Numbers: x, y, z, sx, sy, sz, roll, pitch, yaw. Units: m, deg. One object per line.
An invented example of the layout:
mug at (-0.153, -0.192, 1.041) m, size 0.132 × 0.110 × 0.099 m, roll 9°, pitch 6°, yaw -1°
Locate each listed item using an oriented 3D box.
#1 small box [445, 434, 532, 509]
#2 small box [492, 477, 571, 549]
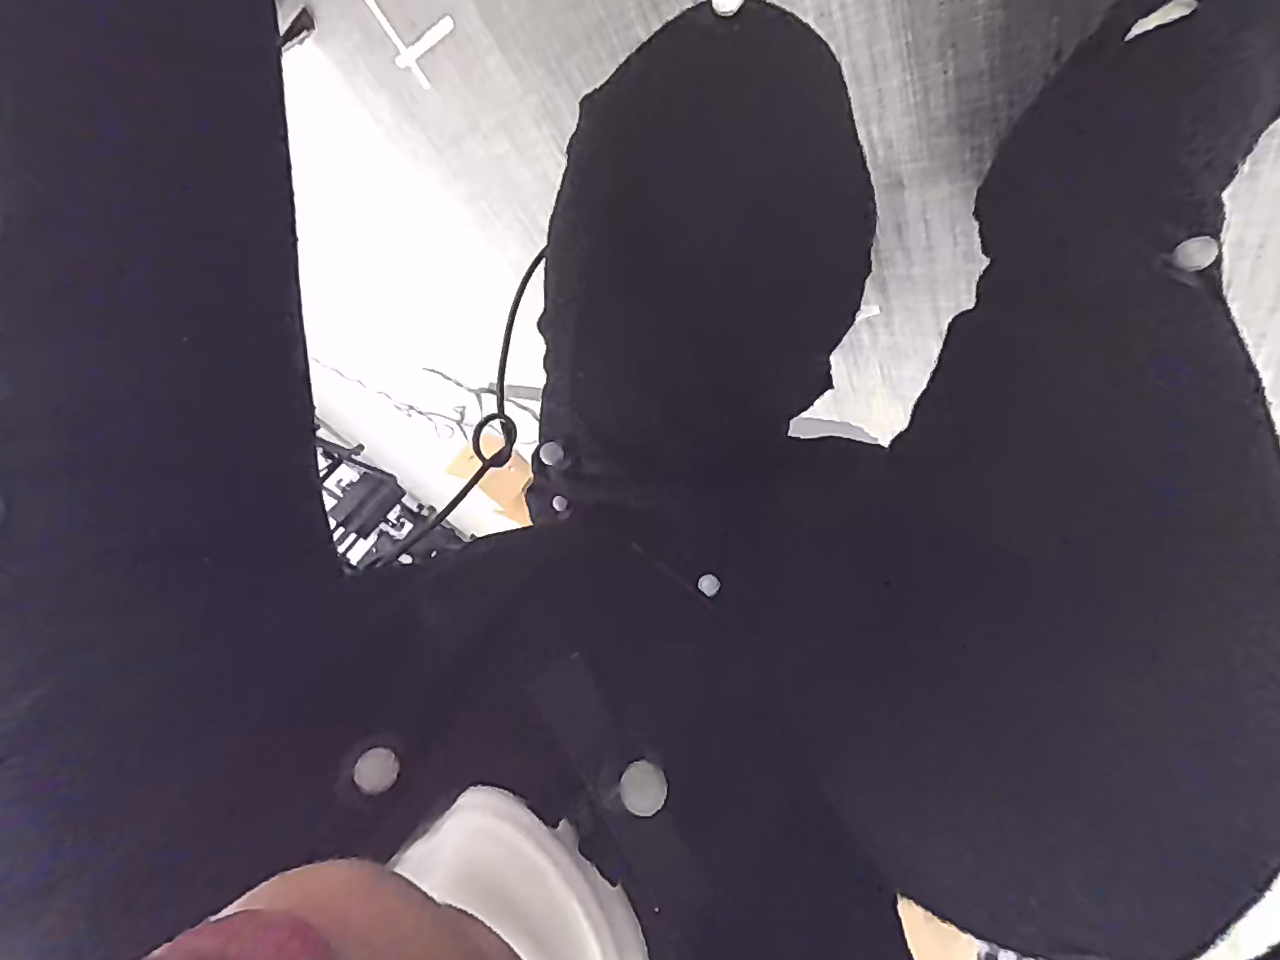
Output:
small box at (-0.485, -0.032, 1.753) m, size 0.179 × 0.176 × 0.168 m, roll 12°, pitch 150°, yaw 43°
small box at (-0.375, 0.109, 1.900) m, size 0.168 × 0.176 × 0.179 m, roll 14°, pitch 152°, yaw 42°
